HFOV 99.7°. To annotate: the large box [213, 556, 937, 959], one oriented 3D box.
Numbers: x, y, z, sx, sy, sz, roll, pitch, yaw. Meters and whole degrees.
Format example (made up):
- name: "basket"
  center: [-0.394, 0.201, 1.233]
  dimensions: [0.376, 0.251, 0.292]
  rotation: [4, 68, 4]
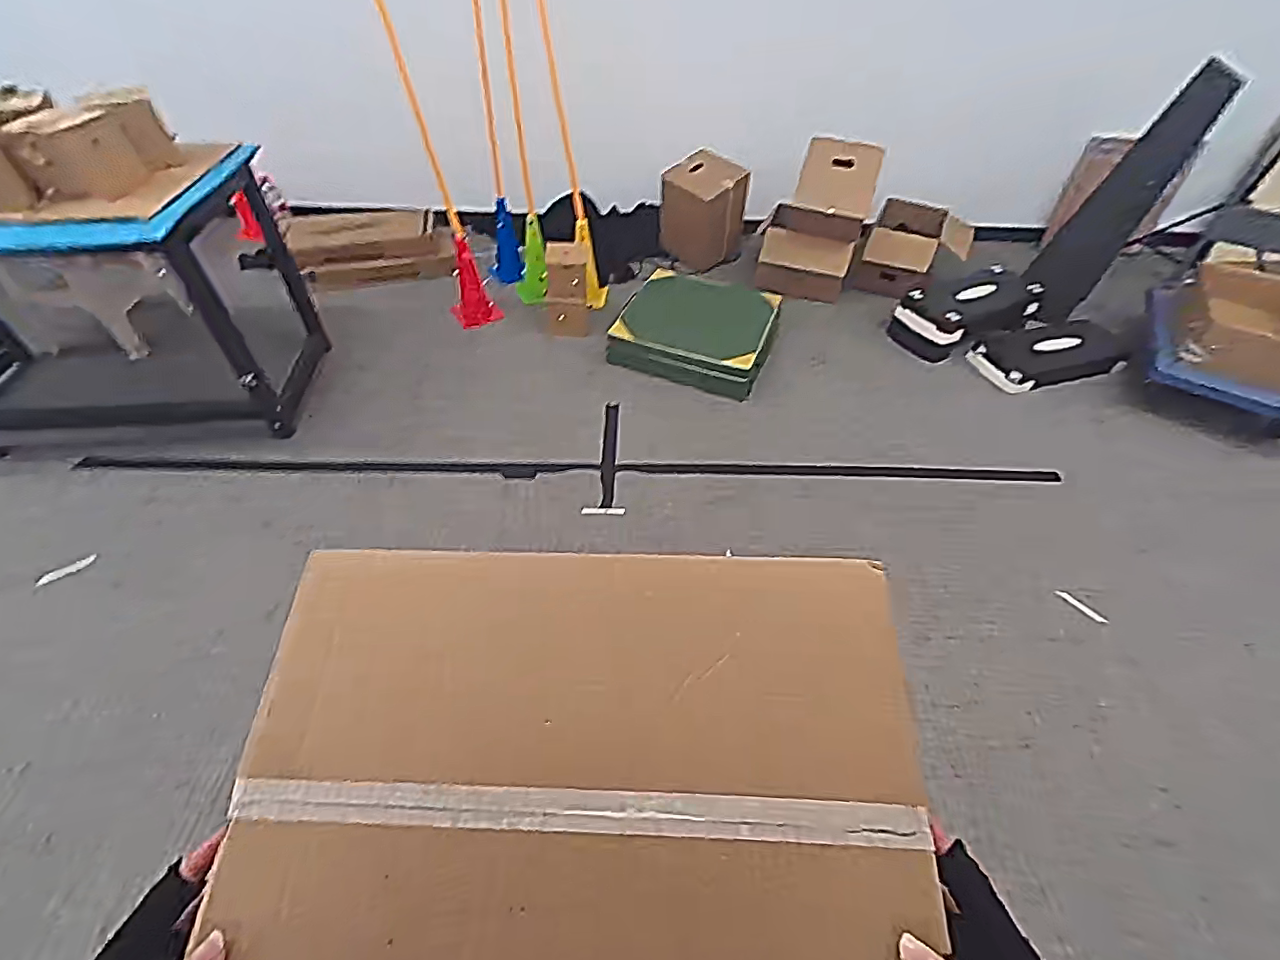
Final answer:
- name: "large box"
  center: [-0.031, 0.261, 0.460]
  dimensions: [0.408, 0.320, 0.320]
  rotation: [0, 64, 4]
